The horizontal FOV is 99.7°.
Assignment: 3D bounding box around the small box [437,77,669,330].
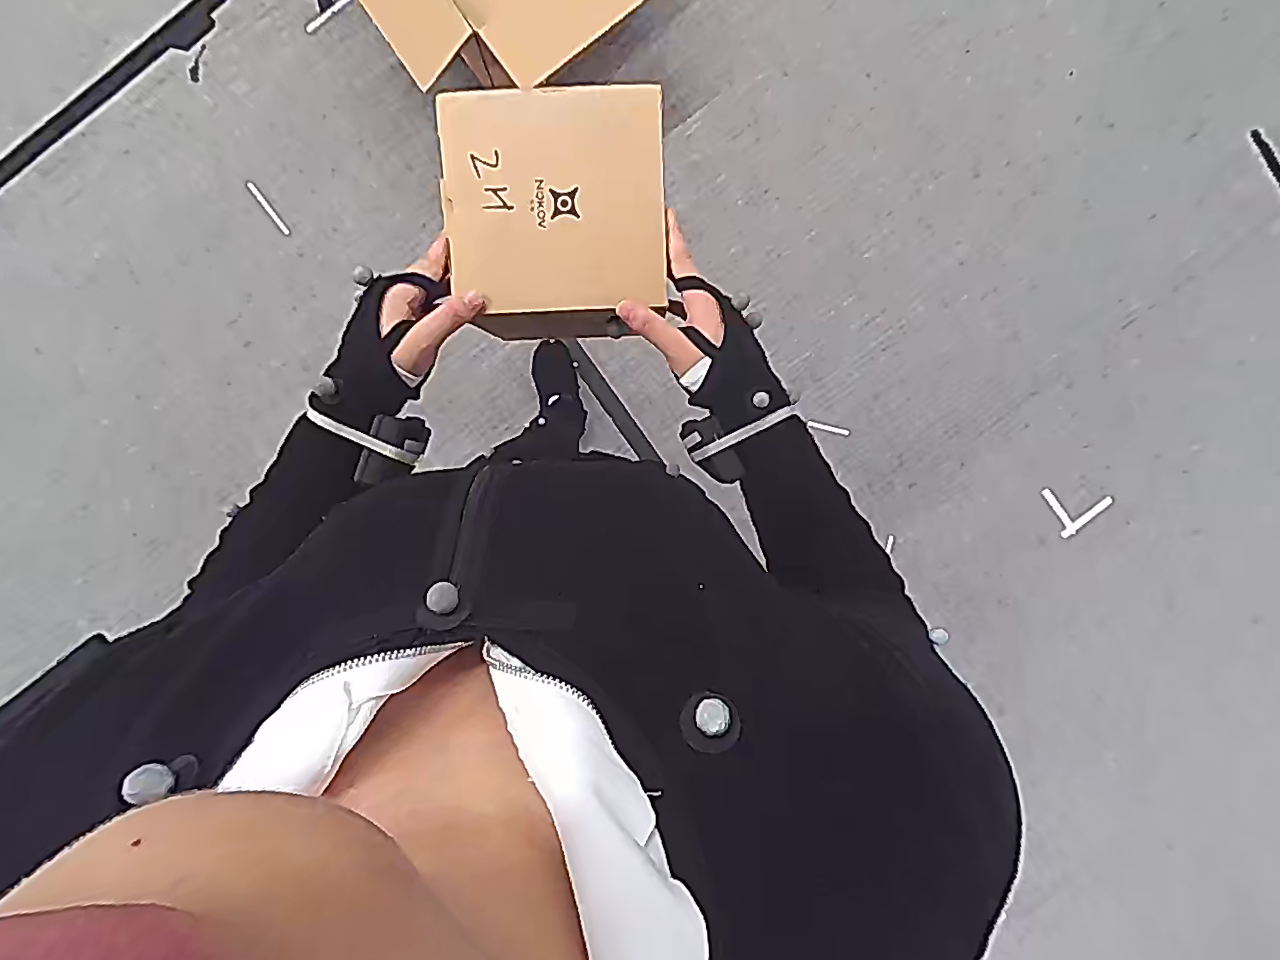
[{"bbox_3d":[-0.067,-0.236,0.502,0.179,0.176,0.168,-2,98,1],"label":"small box"}]
